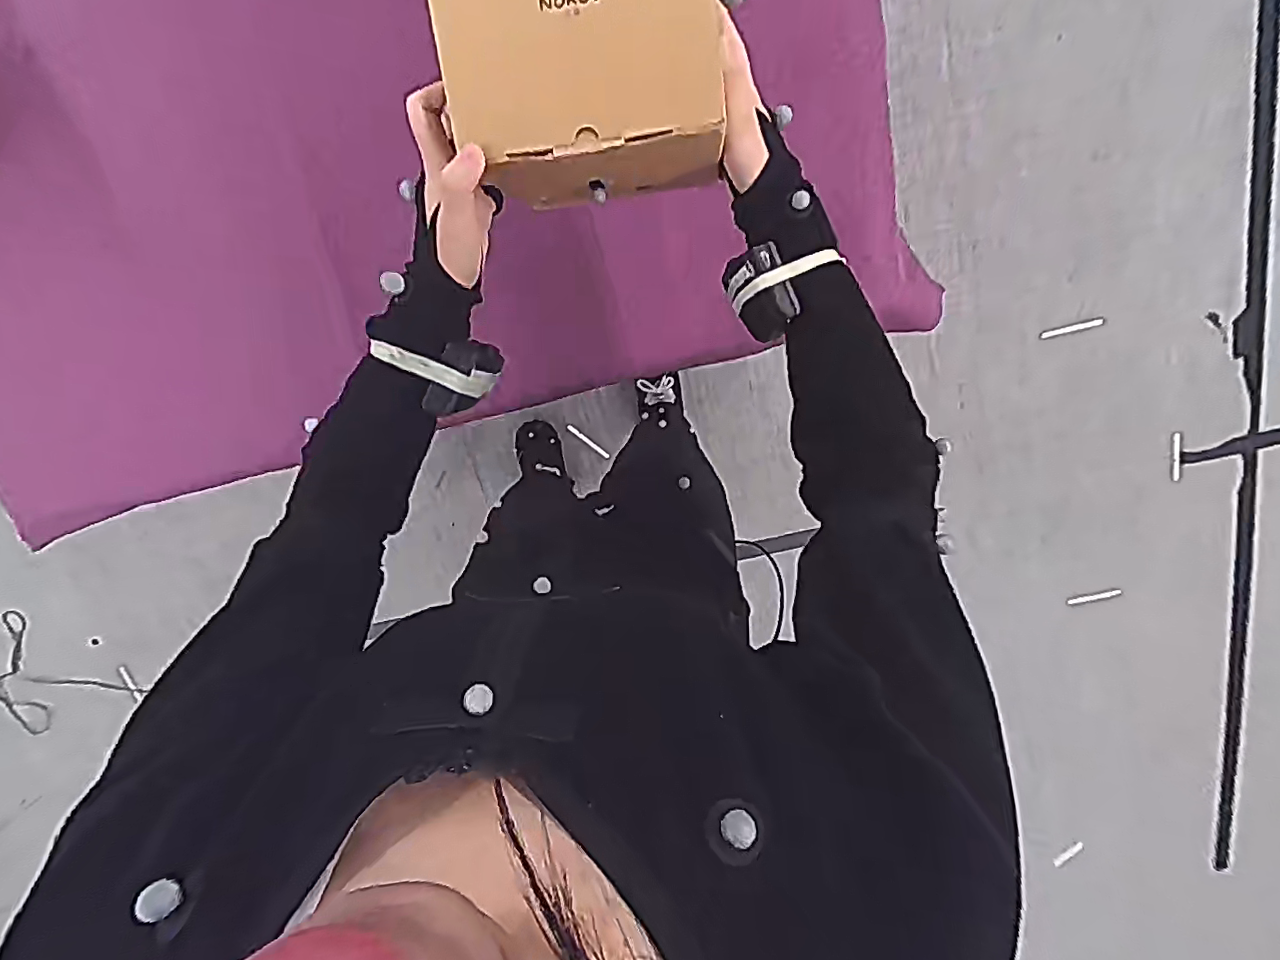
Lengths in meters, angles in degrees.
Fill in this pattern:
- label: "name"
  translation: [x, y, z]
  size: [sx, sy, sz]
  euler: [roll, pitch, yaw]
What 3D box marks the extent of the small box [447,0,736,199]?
- label: "small box"
  translation: [-0.026, -0.315, 0.378]
  size: [0.168, 0.176, 0.179]
  euler: [-5, 108, 6]
